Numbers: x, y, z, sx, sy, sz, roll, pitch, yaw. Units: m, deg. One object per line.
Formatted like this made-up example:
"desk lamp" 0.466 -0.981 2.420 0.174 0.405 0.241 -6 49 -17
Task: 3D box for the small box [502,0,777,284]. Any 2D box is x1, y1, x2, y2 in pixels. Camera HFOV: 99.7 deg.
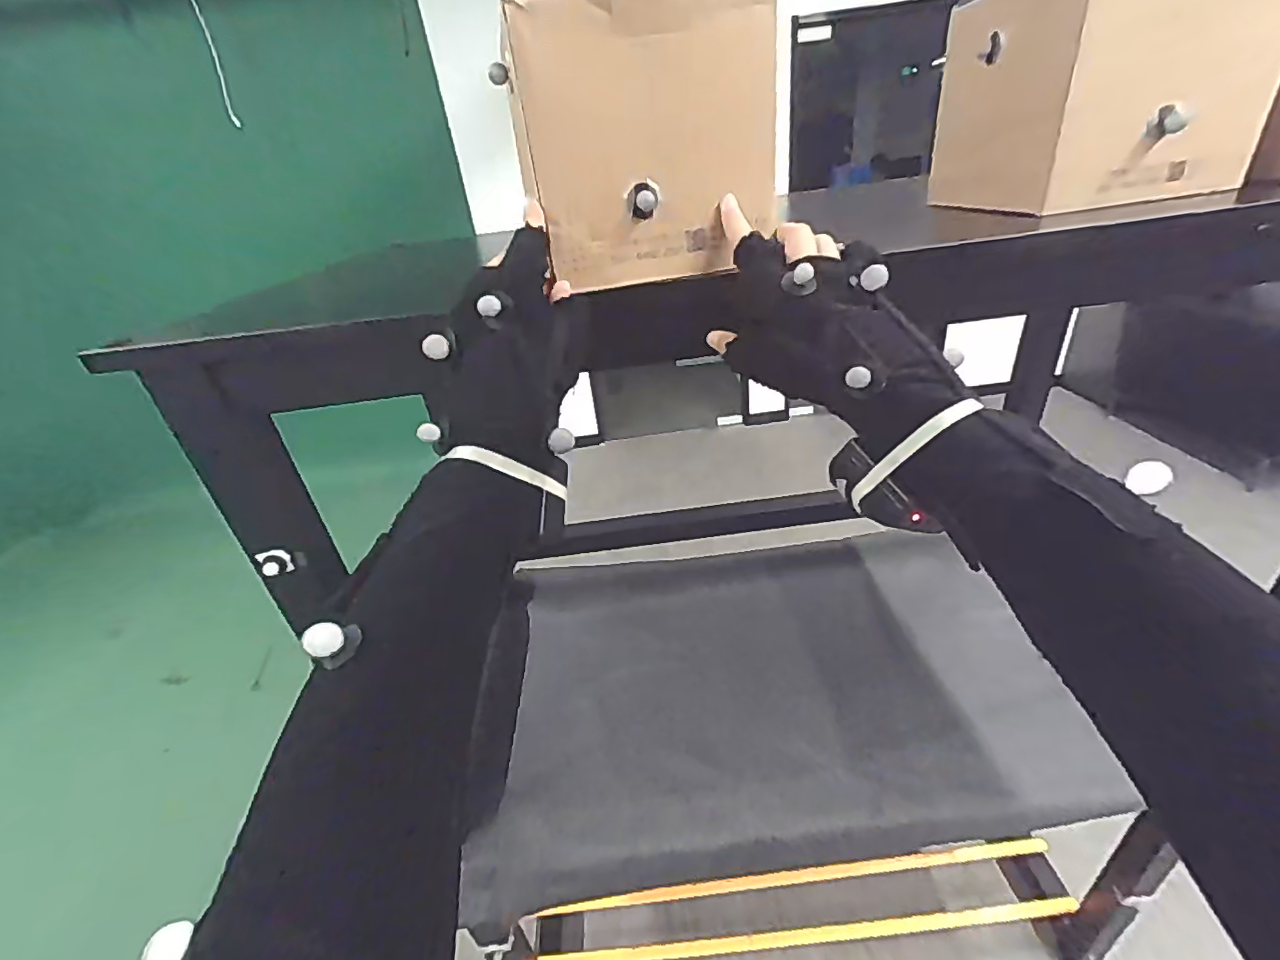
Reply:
"small box" -0.007 -0.257 0.422 0.168 0.176 0.179 -12 30 -8

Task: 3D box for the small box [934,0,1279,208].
"small box" 0.385 -0.338 0.468 0.168 0.176 0.179 -8 30 0
